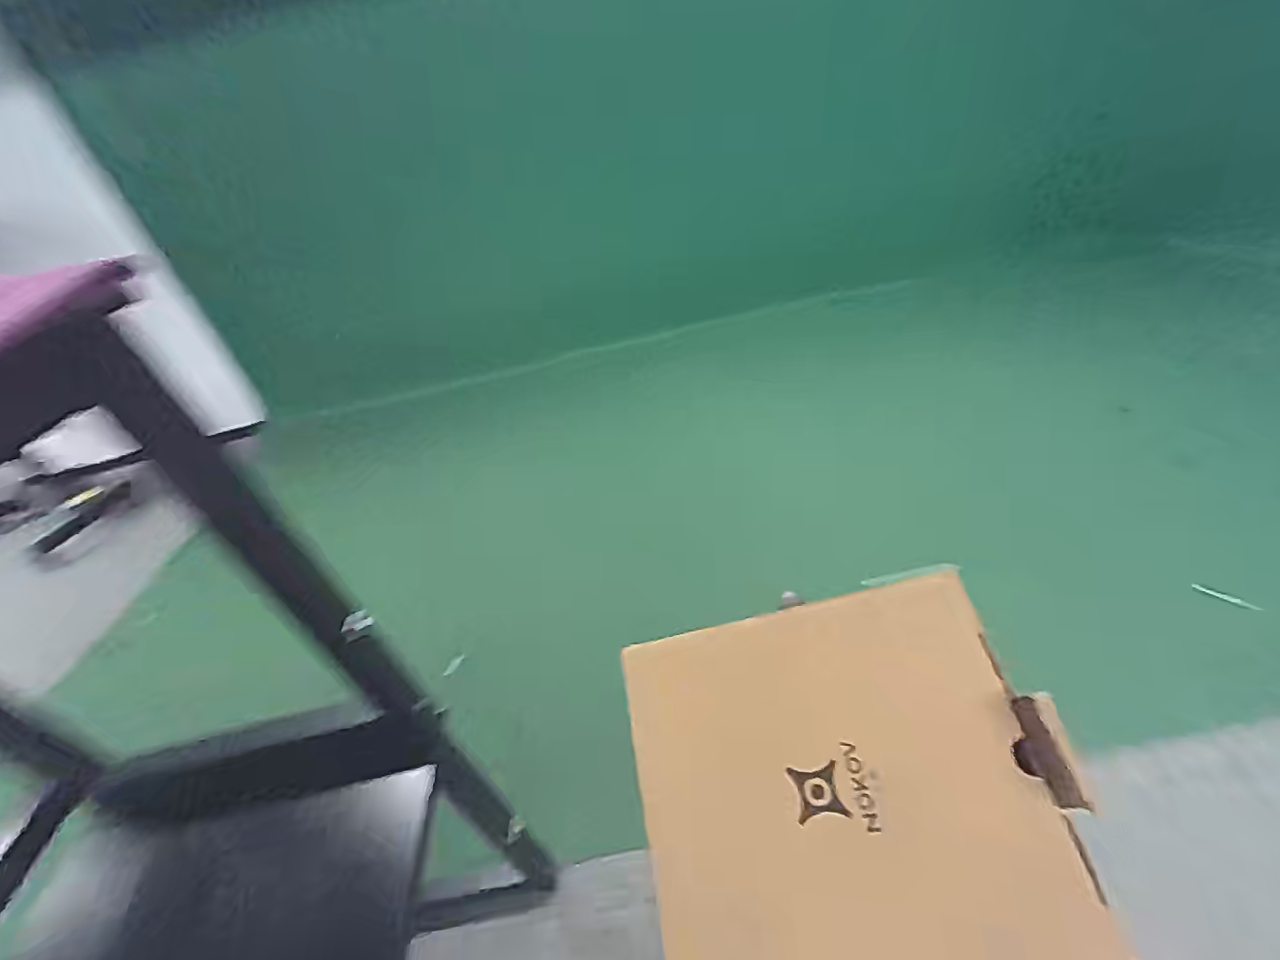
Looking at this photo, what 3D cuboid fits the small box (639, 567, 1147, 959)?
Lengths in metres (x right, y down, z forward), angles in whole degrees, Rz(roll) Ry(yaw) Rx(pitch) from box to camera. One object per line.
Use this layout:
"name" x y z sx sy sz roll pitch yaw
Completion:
"small box" 0.116 0.170 0.313 0.179 0.176 0.168 -16 60 11
